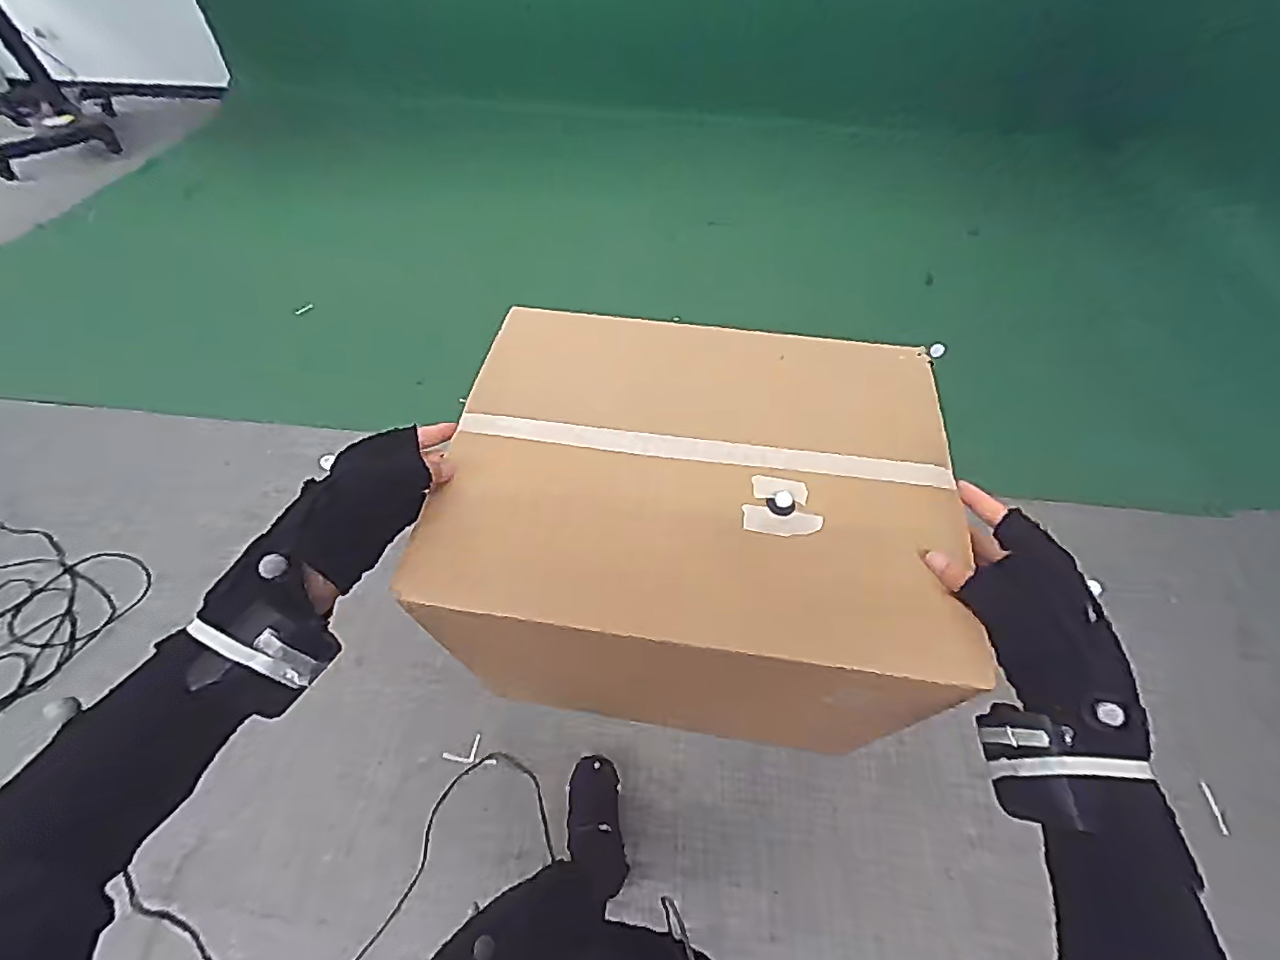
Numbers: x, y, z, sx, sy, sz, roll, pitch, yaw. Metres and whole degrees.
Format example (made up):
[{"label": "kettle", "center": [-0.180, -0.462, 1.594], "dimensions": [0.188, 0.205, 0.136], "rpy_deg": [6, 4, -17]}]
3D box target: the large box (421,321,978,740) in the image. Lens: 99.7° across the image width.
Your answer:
[{"label": "large box", "center": [0.051, 0.065, 0.584], "dimensions": [0.408, 0.320, 0.320], "rpy_deg": [7, 57, 4]}]
